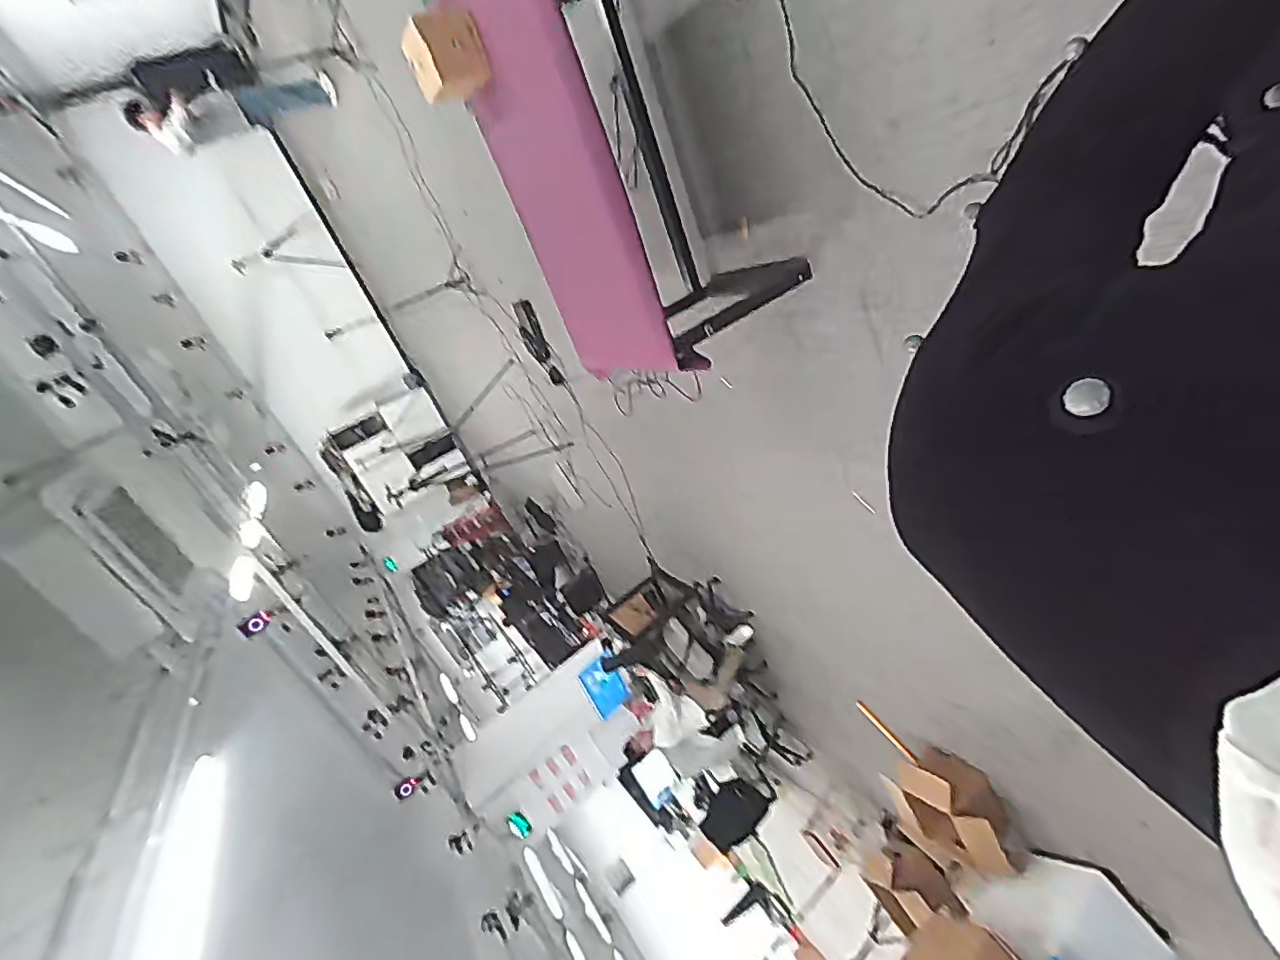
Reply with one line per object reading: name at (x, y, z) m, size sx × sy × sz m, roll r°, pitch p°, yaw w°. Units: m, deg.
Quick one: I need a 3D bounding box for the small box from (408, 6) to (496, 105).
small box at (-0.551, -1.253, 1.598) m, size 0.179 × 0.176 × 0.168 m, roll 20°, pitch 139°, yaw 55°
